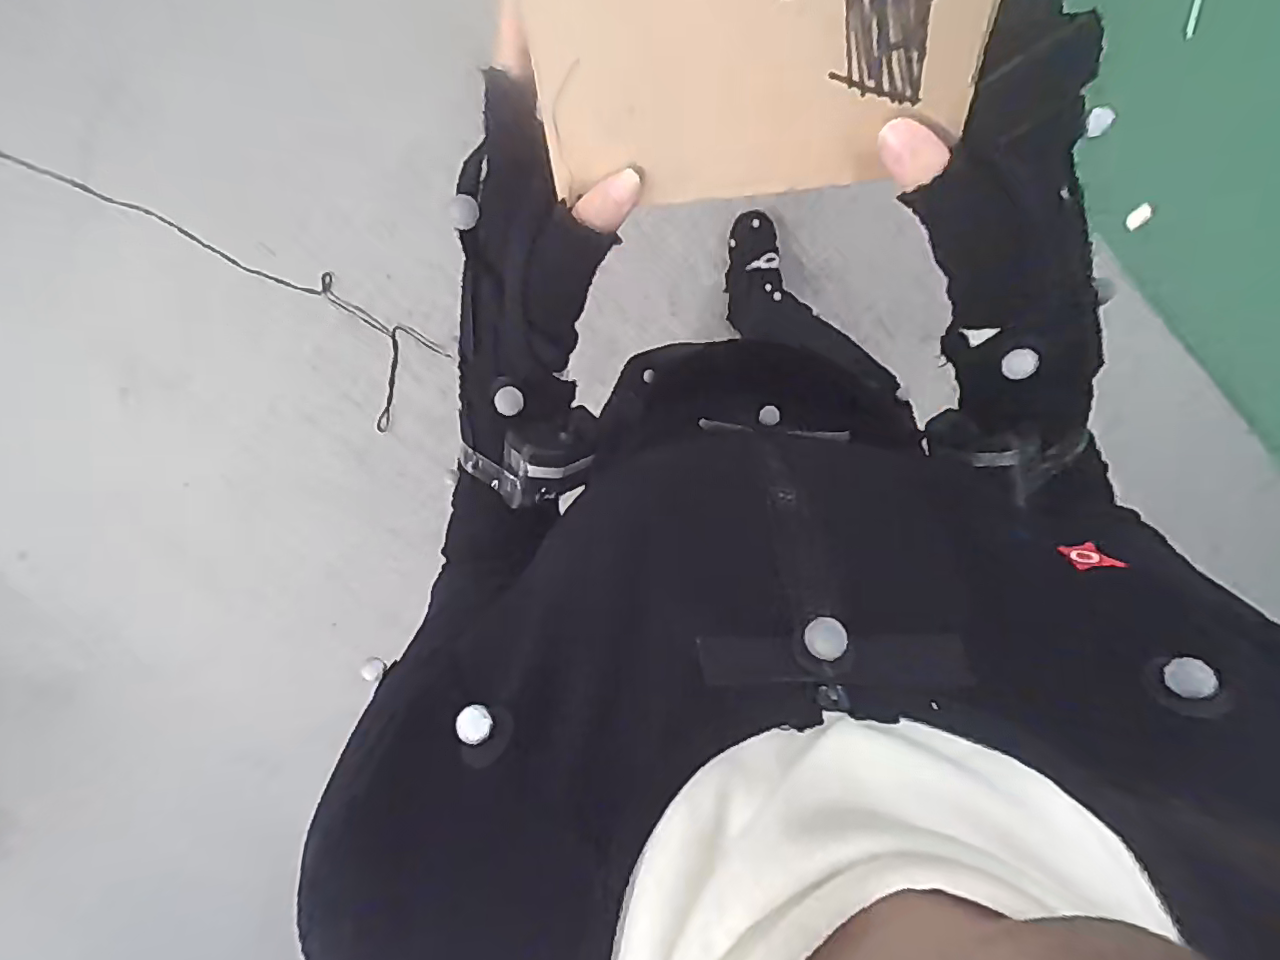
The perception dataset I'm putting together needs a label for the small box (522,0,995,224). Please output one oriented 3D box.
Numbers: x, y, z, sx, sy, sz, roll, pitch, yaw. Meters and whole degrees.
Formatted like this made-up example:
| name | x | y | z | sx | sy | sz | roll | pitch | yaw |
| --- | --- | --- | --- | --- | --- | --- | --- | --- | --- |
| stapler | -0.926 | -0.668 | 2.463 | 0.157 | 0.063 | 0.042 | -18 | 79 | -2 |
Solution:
| name | x | y | z | sx | sy | sz | roll | pitch | yaw |
| --- | --- | --- | --- | --- | --- | --- | --- | --- | --- |
| small box | 0.039 | -0.244 | 0.246 | 0.179 | 0.176 | 0.168 | -7 | 134 | 6 |
